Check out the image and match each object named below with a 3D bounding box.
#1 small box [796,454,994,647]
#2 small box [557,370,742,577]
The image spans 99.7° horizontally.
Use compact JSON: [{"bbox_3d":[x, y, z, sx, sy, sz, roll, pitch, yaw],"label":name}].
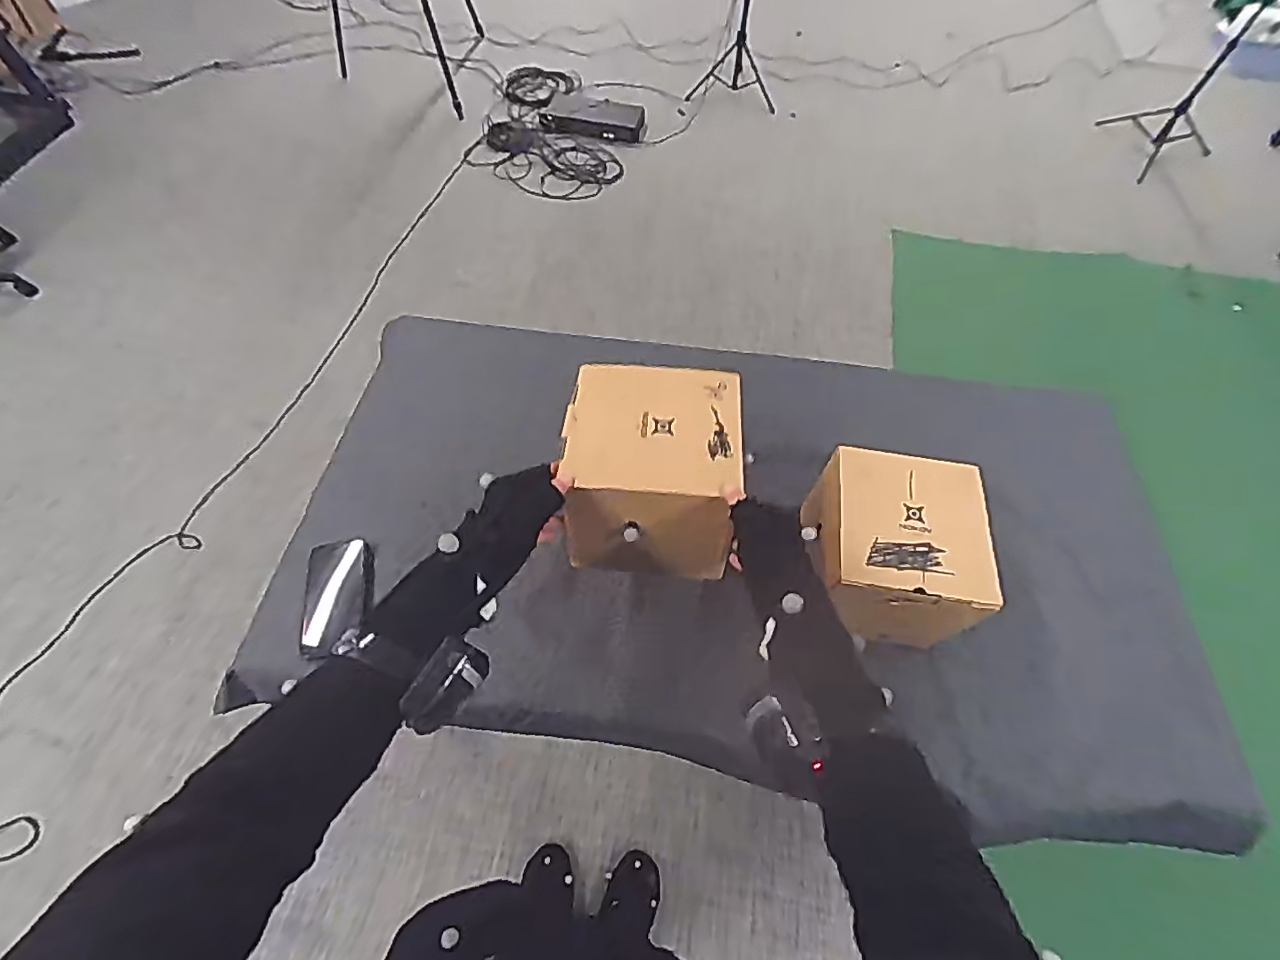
[{"bbox_3d":[0.301,0.094,0.677,0.168,0.176,0.179,9,59,4],"label":"small box"},{"bbox_3d":[0.016,-0.003,0.607,0.179,0.176,0.168,4,53,3],"label":"small box"}]
